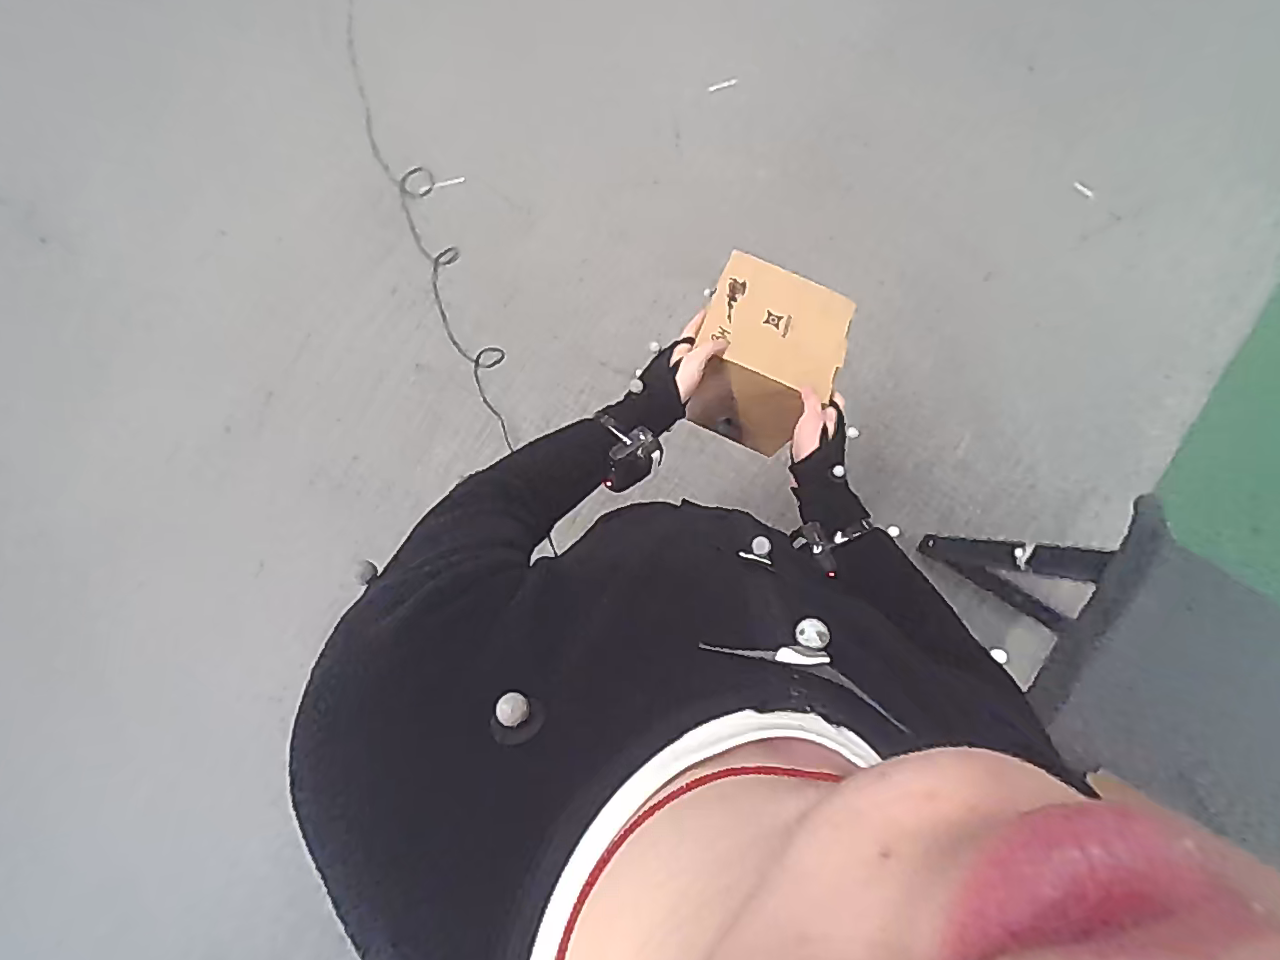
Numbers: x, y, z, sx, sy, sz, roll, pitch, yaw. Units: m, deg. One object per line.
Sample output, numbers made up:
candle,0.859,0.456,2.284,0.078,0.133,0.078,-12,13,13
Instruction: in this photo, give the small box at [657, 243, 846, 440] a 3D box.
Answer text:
small box,0.145,-0.174,0.740,0.179,0.176,0.168,24,68,-4
